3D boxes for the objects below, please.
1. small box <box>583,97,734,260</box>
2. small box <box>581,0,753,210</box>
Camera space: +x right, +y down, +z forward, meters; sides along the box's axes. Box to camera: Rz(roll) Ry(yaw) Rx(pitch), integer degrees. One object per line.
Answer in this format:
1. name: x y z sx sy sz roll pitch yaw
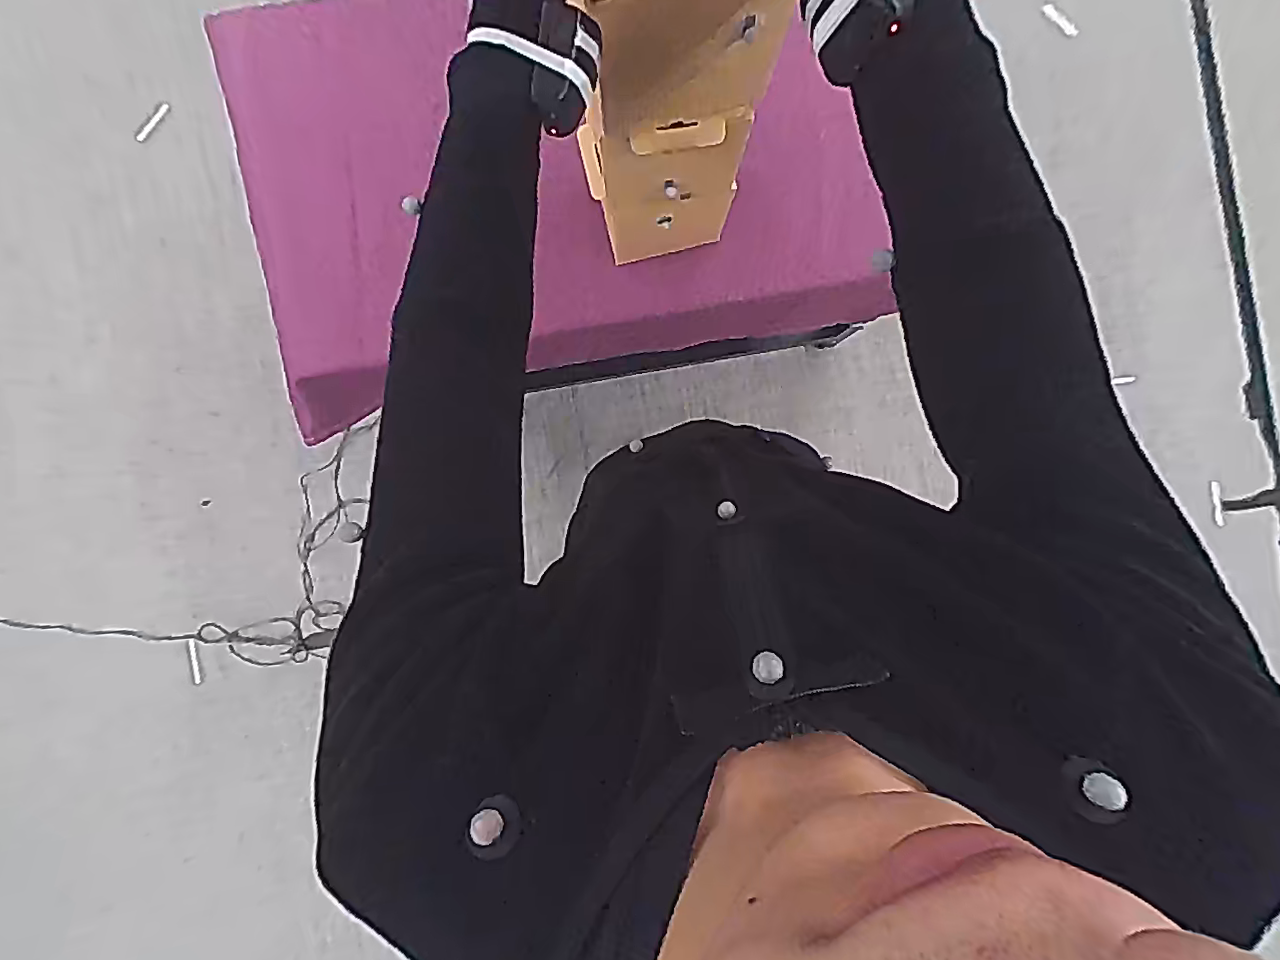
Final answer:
1. small box: 0.026 -0.450 0.802 0.179 0.176 0.168 -14 91 -1
2. small box: 0.025 -0.452 0.637 0.168 0.176 0.179 -8 91 0
